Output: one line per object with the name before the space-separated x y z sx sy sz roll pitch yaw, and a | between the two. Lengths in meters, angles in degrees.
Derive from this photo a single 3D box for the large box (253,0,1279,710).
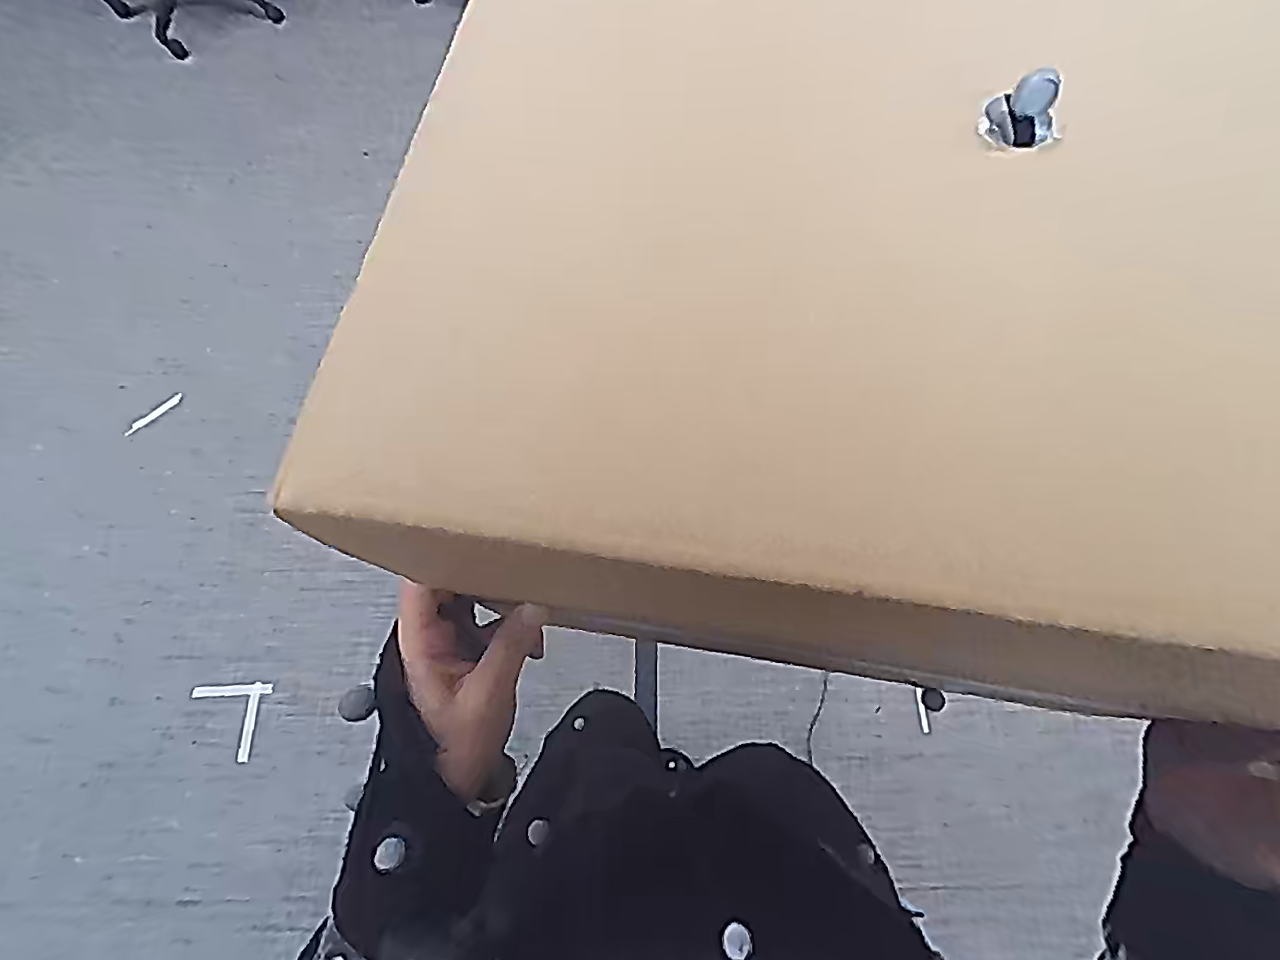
large box | 0.109 -0.063 0.321 0.408 0.320 0.320 7 72 4
